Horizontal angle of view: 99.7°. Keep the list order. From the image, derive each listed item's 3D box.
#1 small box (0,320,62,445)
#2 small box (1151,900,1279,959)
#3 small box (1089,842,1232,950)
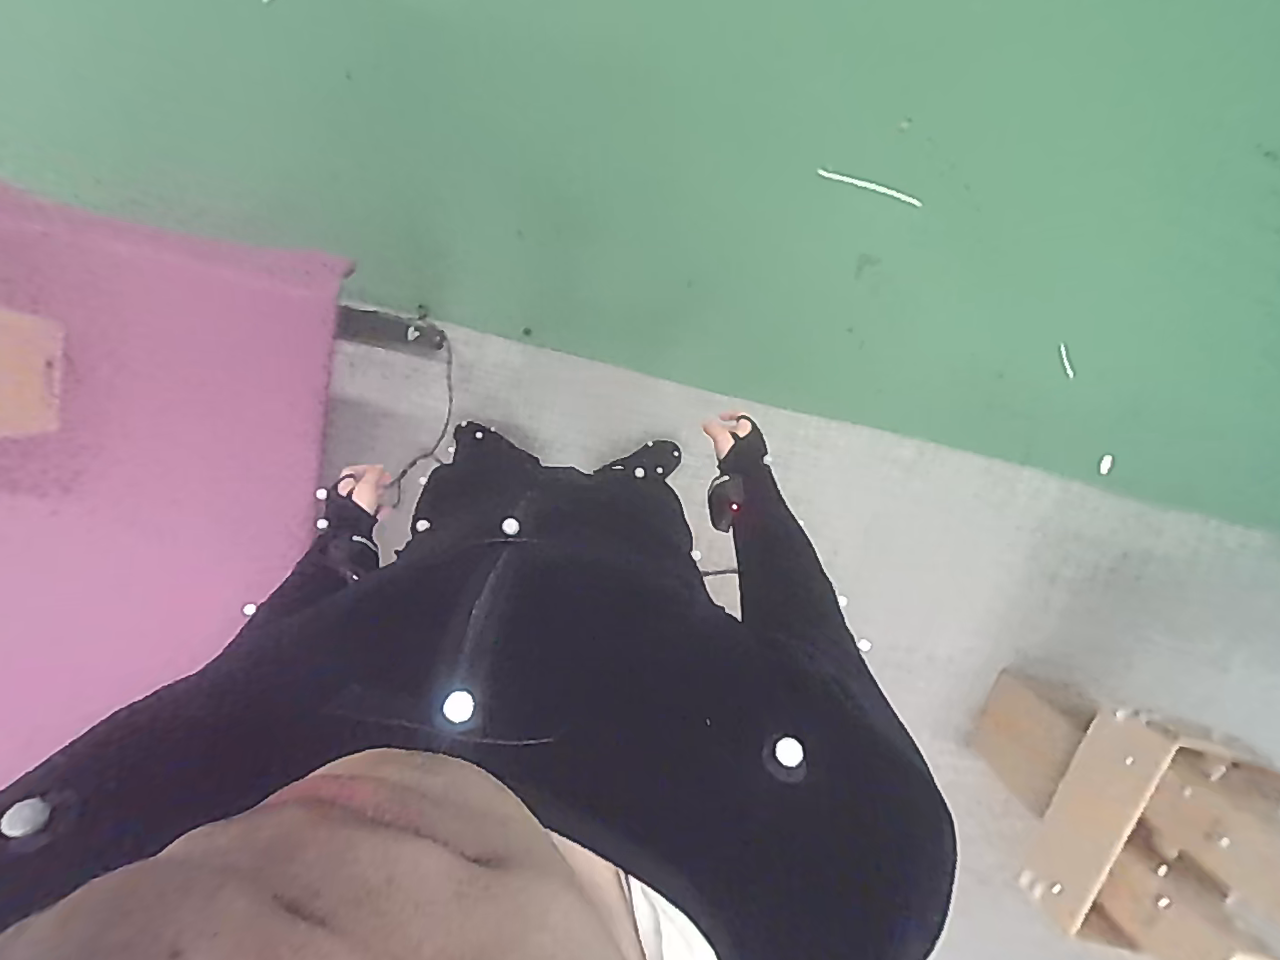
[{"bbox_3d":[-0.936,-0.137,0.709,0.179,0.176,0.168,12,100,-6],"label":"small box"},{"bbox_3d":[1.352,1.117,1.242,0.179,0.176,0.168,19,99,-7],"label":"small box"},{"bbox_3d":[1.341,1.086,1.404,0.179,0.176,0.168,18,99,-6],"label":"small box"}]
